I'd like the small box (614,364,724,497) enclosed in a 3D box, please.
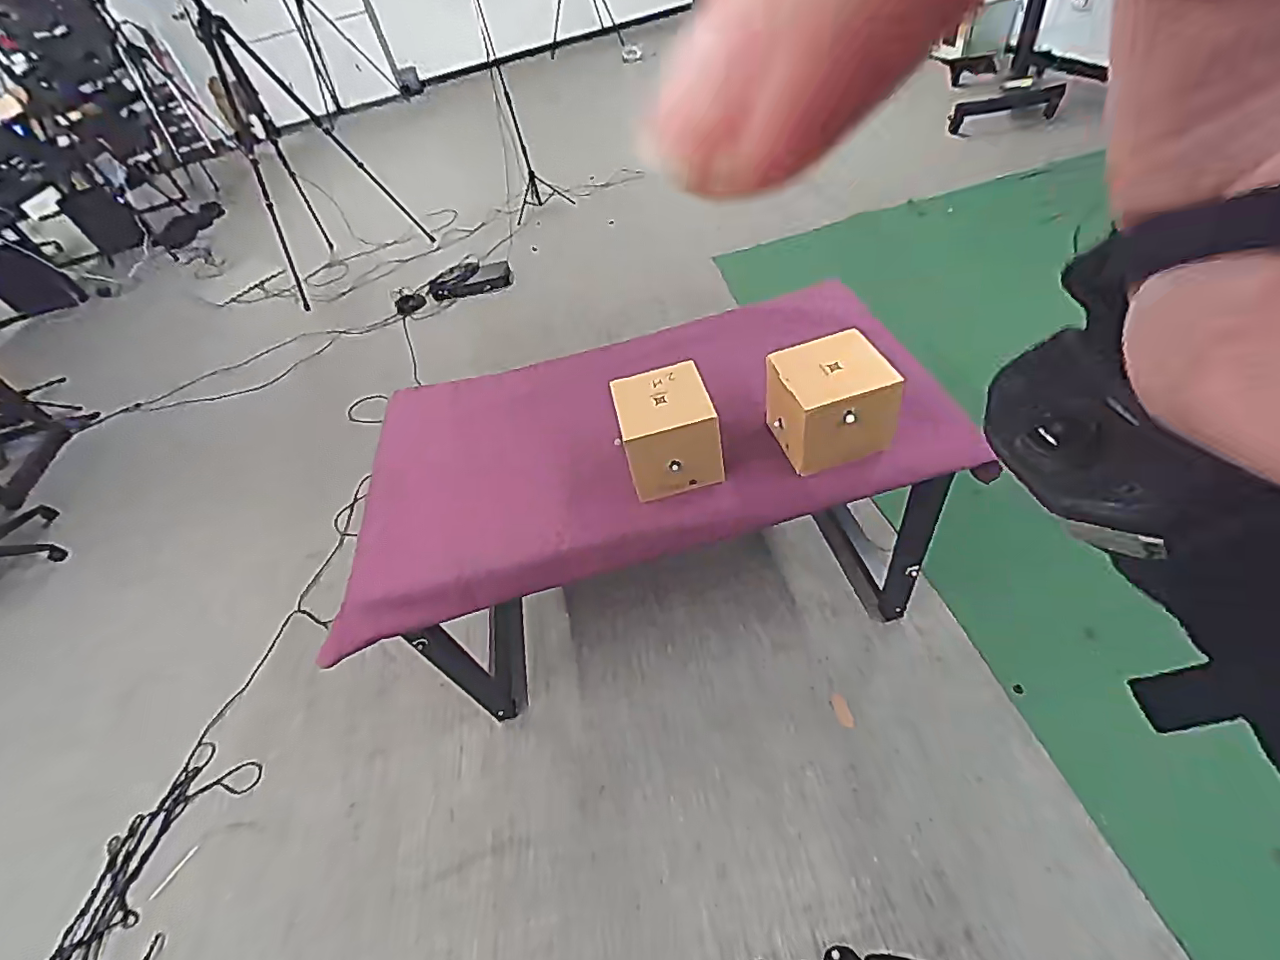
[{"bbox_3d":[0.057,-0.086,1.027,0.168,0.176,0.179,-14,46,1],"label":"small box"}]

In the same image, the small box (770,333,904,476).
[{"bbox_3d":[0.351,-0.136,0.998,0.179,0.176,0.168,-18,48,0],"label":"small box"}]
